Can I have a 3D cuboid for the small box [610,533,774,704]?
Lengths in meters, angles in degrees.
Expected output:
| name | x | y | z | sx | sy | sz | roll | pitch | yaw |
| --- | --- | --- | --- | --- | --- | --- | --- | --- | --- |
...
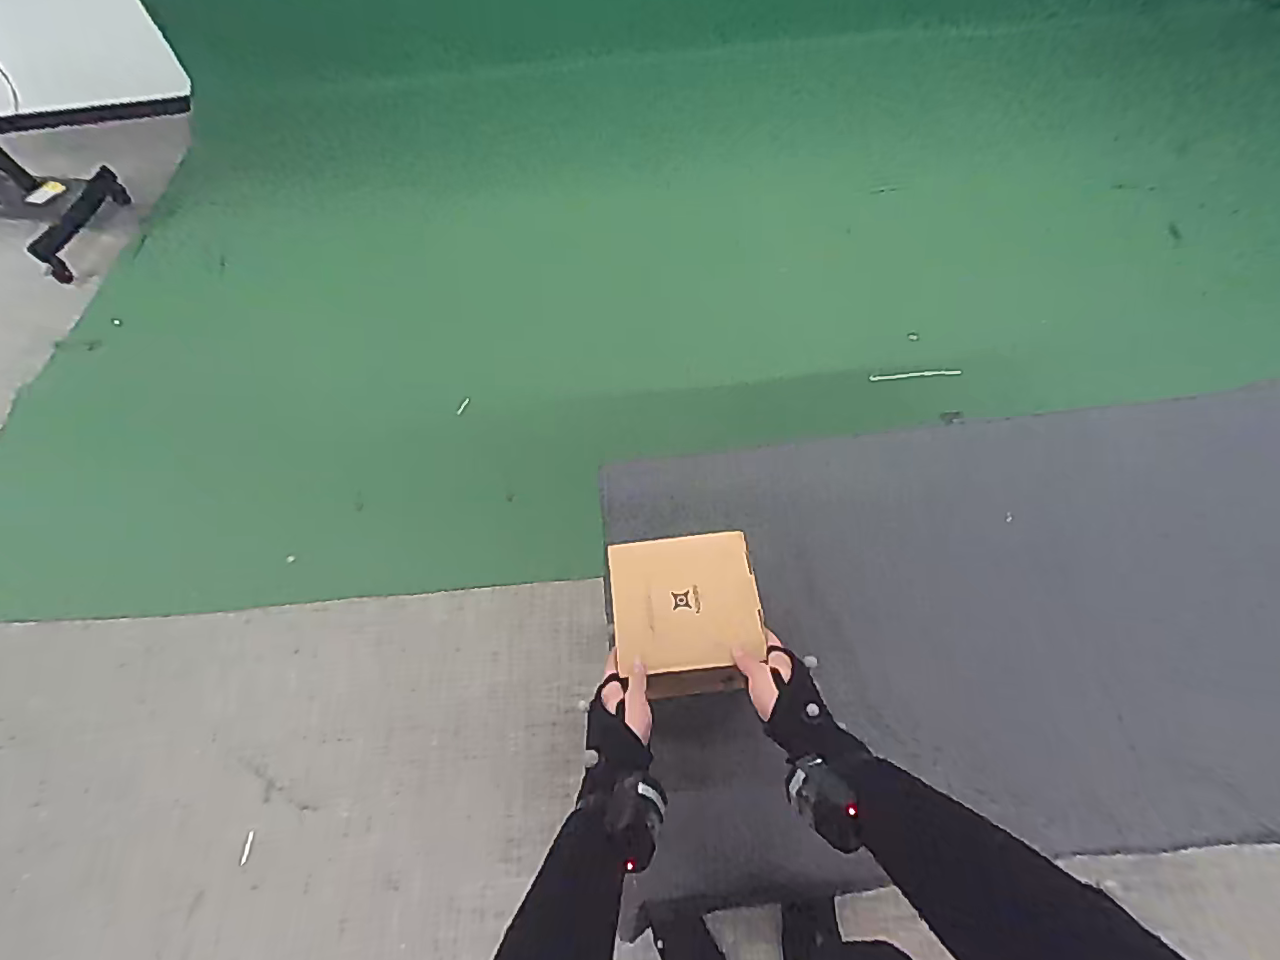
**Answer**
| name | x | y | z | sx | sy | sz | roll | pitch | yaw |
| --- | --- | --- | --- | --- | --- | --- | --- | --- | --- |
| small box | 0.058 | 0.185 | 0.704 | 0.179 | 0.176 | 0.168 | -6 | 58 | -1 |
